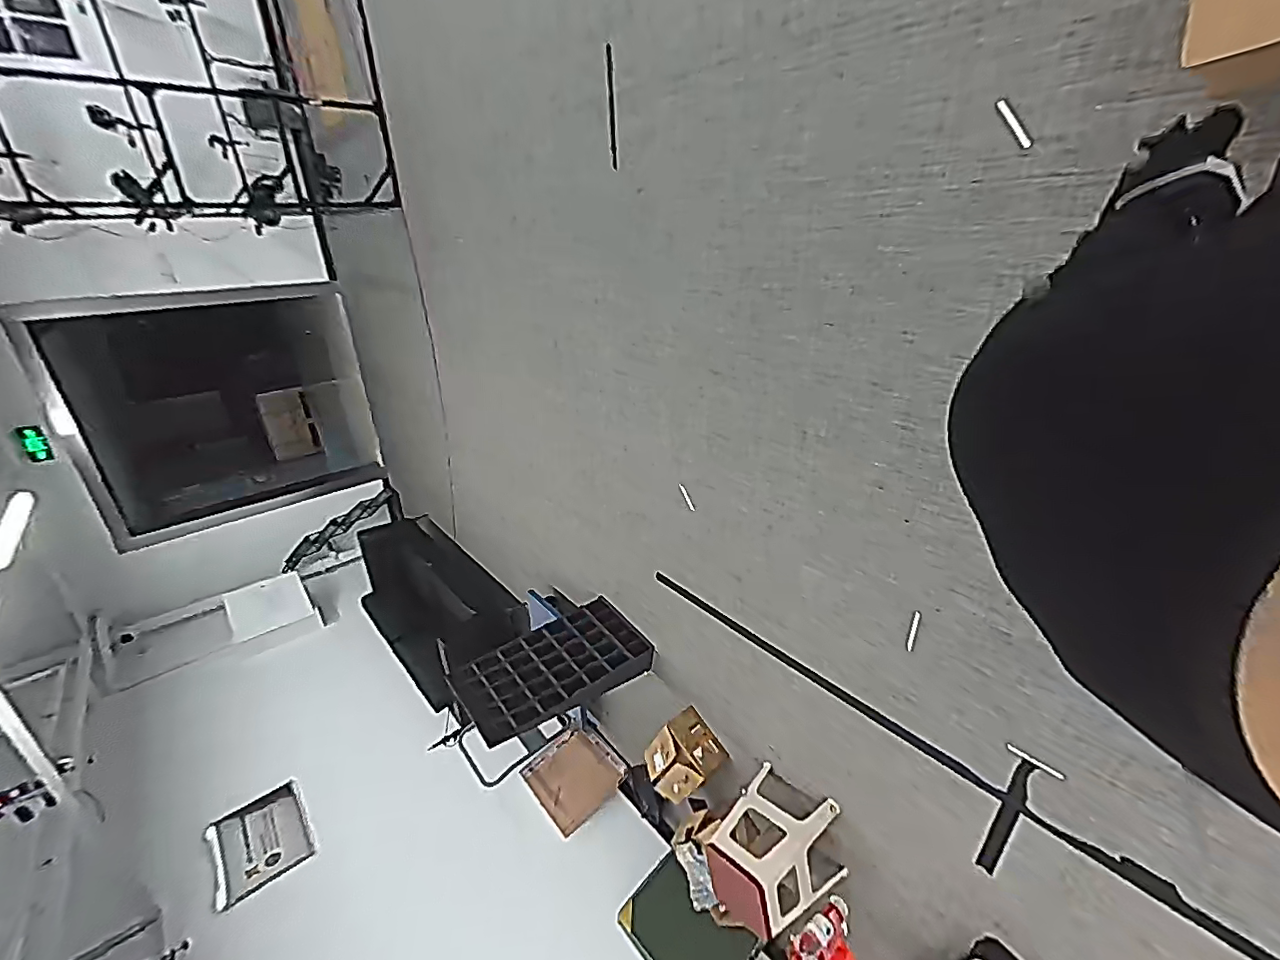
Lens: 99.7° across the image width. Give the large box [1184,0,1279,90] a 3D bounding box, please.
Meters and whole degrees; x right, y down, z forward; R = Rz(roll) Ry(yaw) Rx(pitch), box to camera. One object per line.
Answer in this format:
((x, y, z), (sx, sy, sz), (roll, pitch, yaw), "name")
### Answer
((0.990, -0.746, 0.662), (0.408, 0.320, 0.320), (14, 119, 48), "large box")
